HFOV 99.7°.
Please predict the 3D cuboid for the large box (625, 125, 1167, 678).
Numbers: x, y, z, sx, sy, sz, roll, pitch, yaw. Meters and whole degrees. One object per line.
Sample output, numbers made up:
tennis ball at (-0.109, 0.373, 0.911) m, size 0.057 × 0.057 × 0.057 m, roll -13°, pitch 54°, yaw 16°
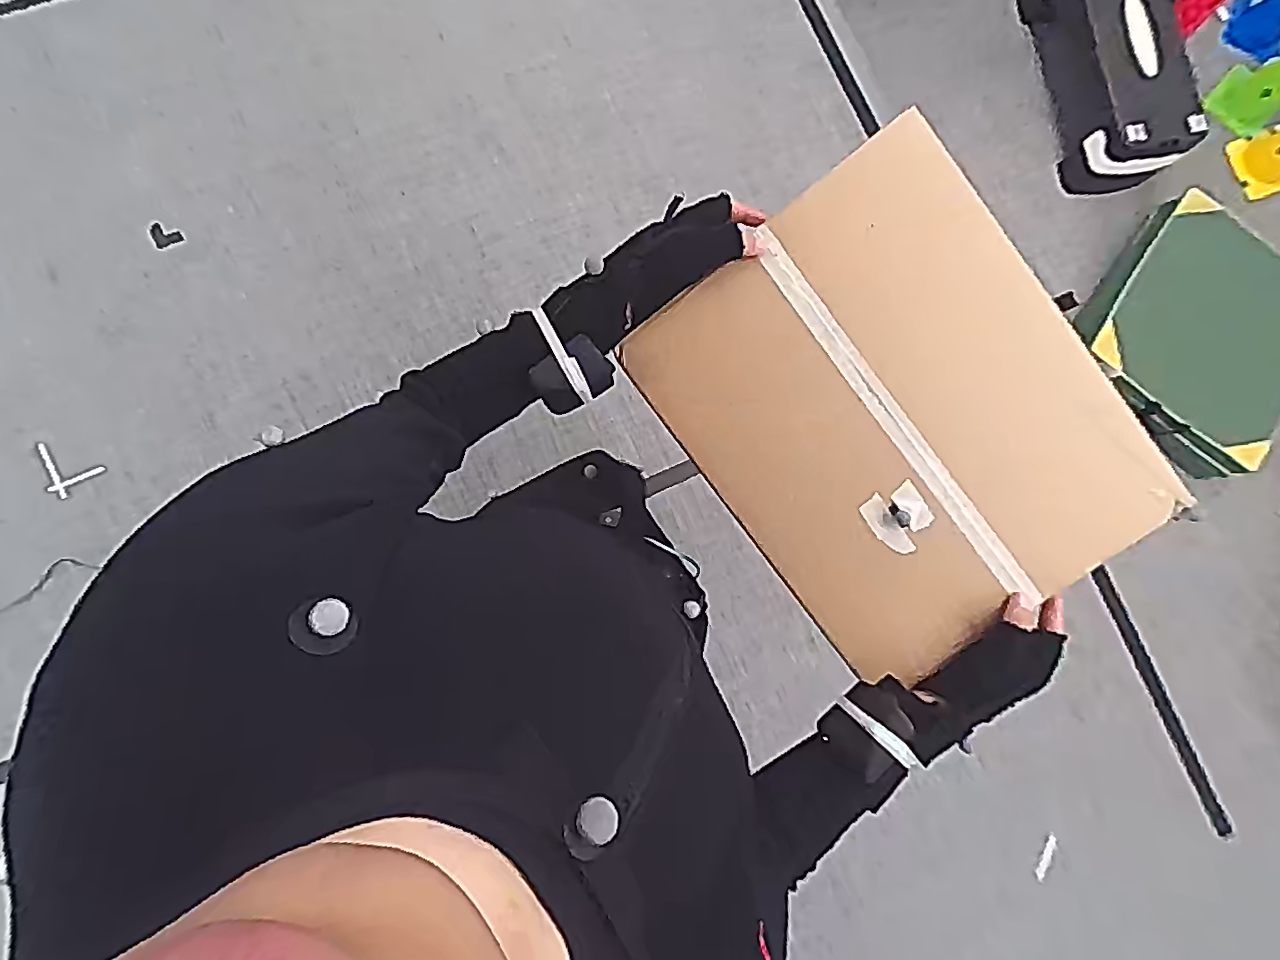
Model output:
large box at (0.230, -0.074, 0.626) m, size 0.320 × 0.320 × 0.408 m, roll -37°, pitch 94°, yaw 8°
